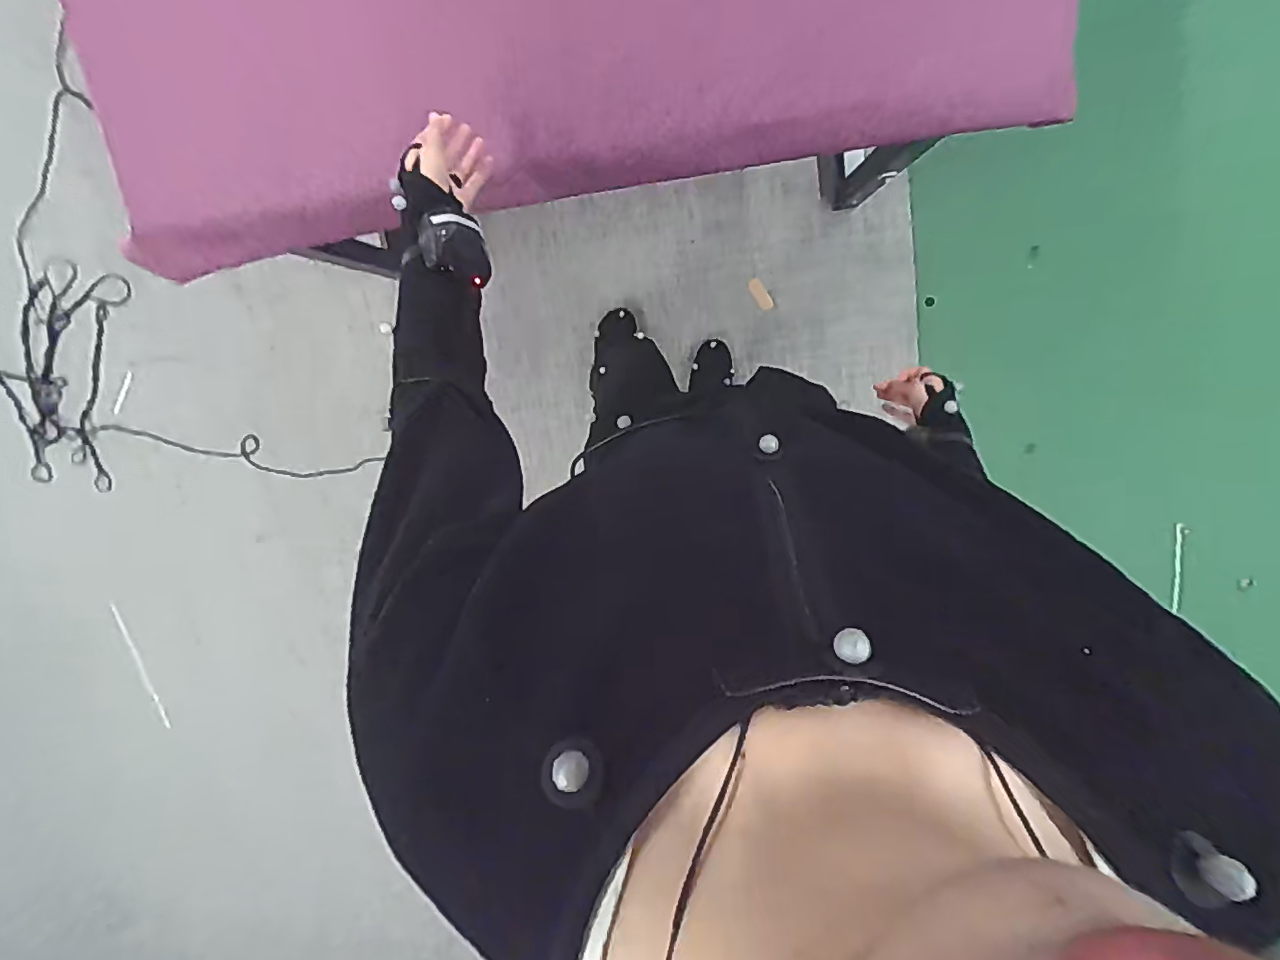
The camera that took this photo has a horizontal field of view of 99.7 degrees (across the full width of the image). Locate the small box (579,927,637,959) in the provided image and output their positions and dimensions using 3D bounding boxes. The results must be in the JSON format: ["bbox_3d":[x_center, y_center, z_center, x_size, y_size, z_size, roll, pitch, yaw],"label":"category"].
[{"bbox_3d":[-0.107,1.486,1.599,0.168,0.176,0.179,11,104,2],"label":"small box"}]
